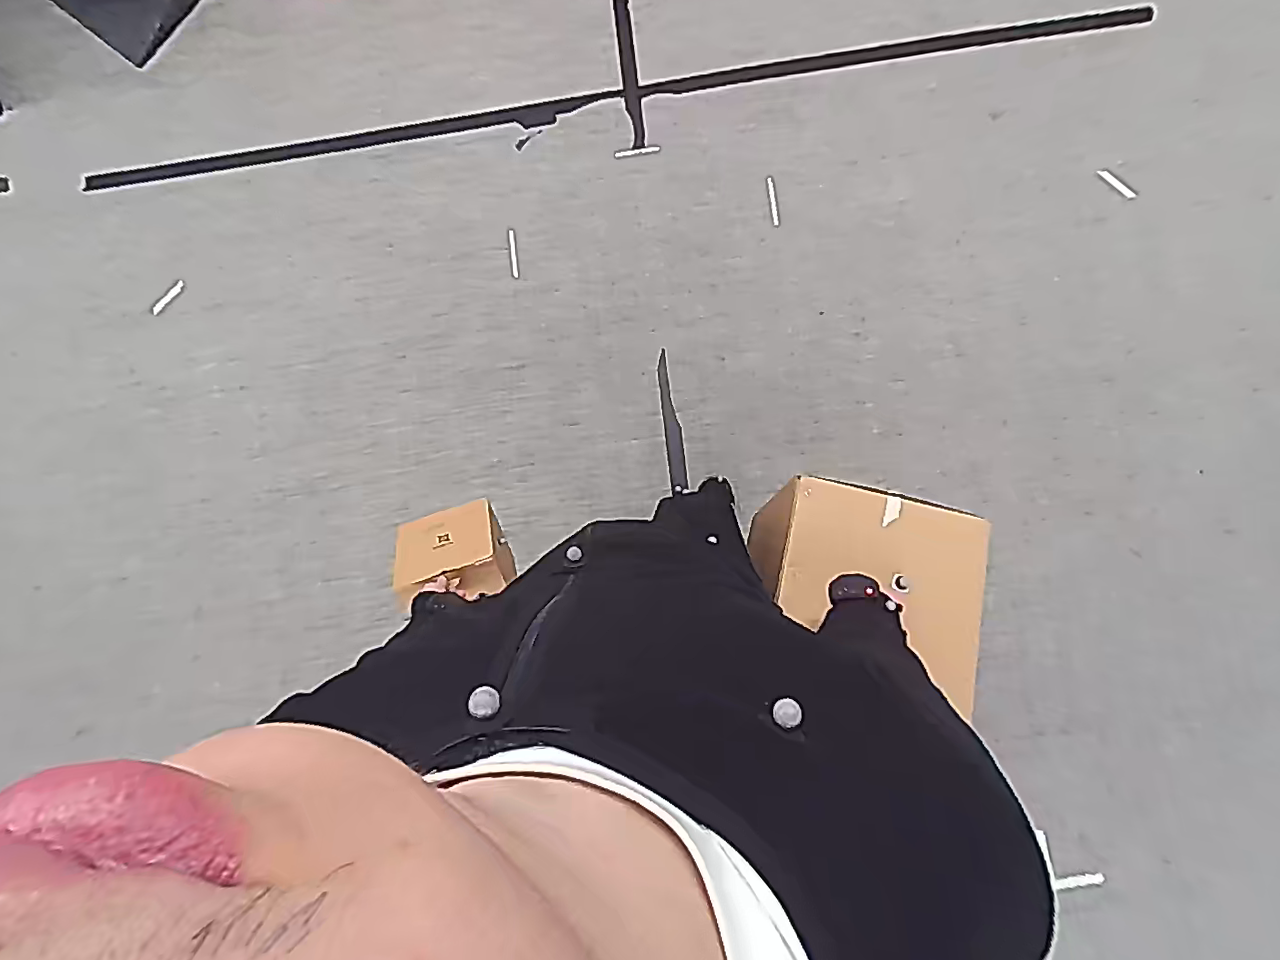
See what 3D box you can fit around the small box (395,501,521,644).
[{"bbox_3d":[-0.324,0.173,0.984,0.168,0.179,0.176,-18,126,-8],"label":"small box"}]
